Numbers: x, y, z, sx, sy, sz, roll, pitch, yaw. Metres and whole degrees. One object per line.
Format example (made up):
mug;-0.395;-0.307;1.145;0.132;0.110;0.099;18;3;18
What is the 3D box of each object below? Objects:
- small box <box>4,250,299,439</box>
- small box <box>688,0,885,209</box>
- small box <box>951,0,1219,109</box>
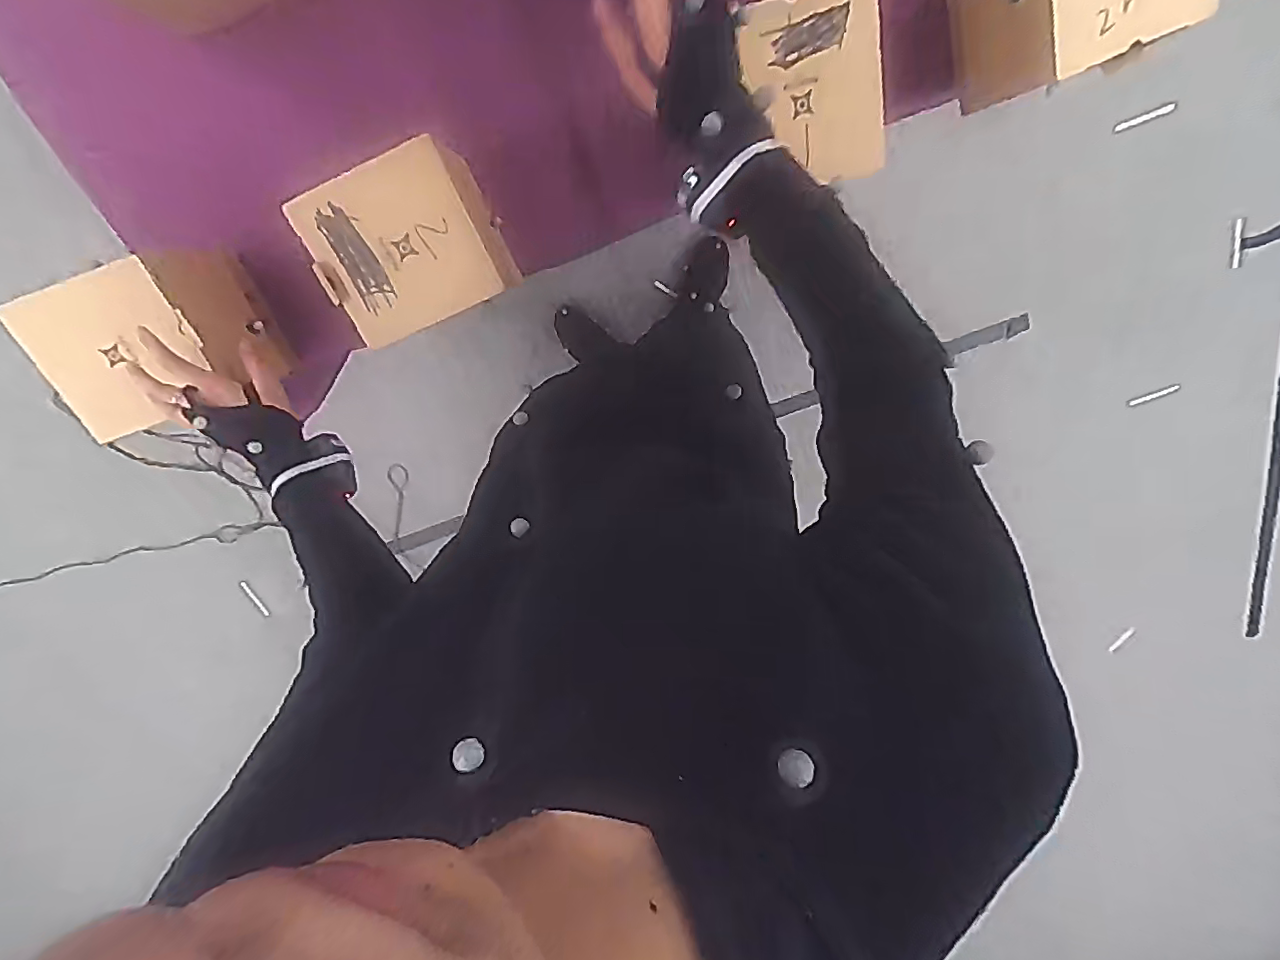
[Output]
small box;-0.581;-0.174;0.676;0.179;0.176;0.168;-19;113;3
small box;0.159;-0.427;0.621;0.168;0.176;0.179;-15;115;2
small box;0.468;-0.547;0.589;0.168;0.176;0.179;-21;113;6
